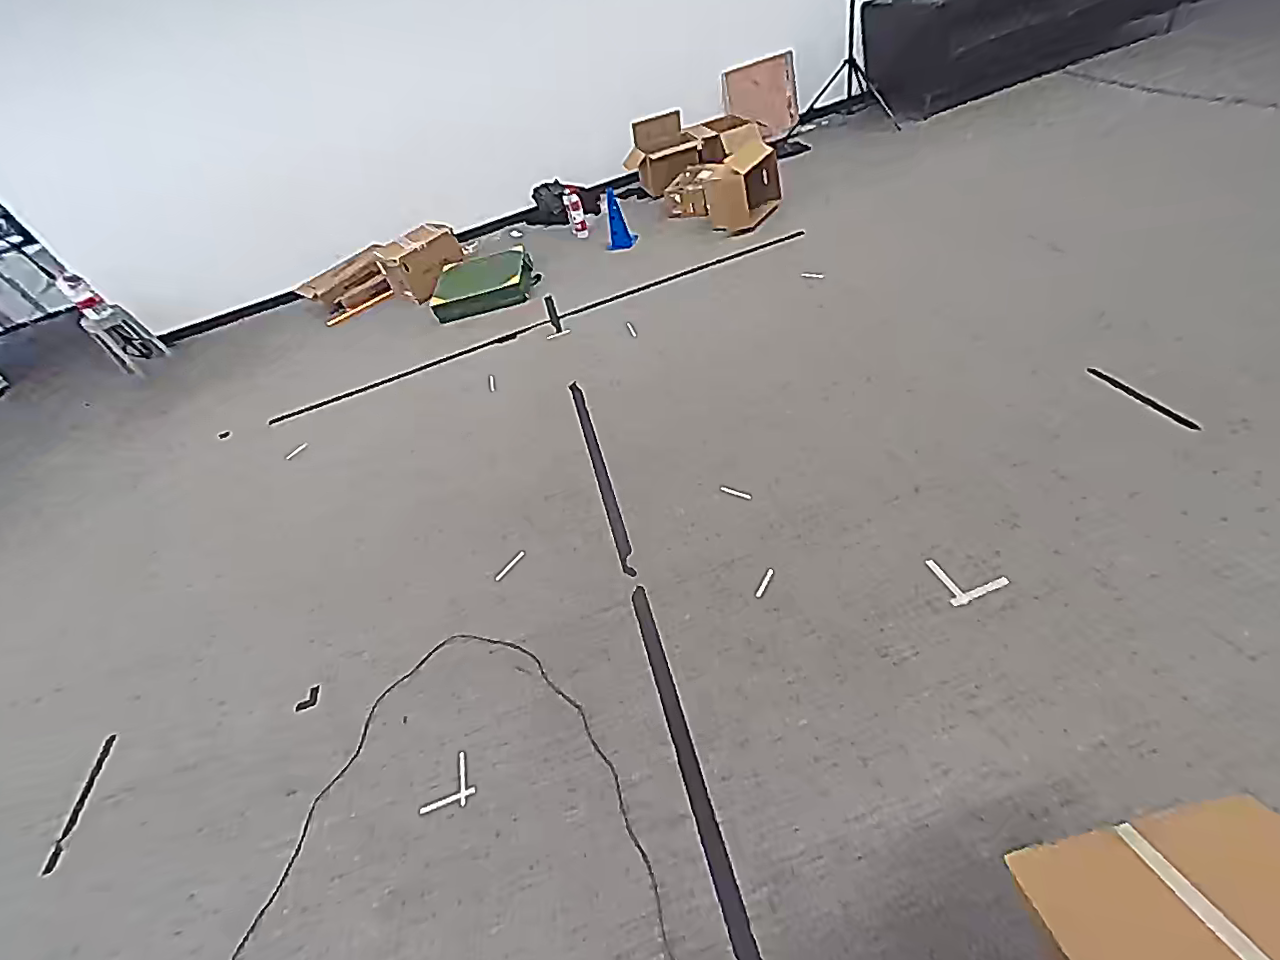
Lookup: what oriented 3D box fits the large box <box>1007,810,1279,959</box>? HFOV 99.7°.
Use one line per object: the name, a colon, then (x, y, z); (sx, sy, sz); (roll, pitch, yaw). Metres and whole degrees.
large box: (0.668, 0.630, 0.528); (0.320, 0.320, 0.408); (-23, 0, 10)
